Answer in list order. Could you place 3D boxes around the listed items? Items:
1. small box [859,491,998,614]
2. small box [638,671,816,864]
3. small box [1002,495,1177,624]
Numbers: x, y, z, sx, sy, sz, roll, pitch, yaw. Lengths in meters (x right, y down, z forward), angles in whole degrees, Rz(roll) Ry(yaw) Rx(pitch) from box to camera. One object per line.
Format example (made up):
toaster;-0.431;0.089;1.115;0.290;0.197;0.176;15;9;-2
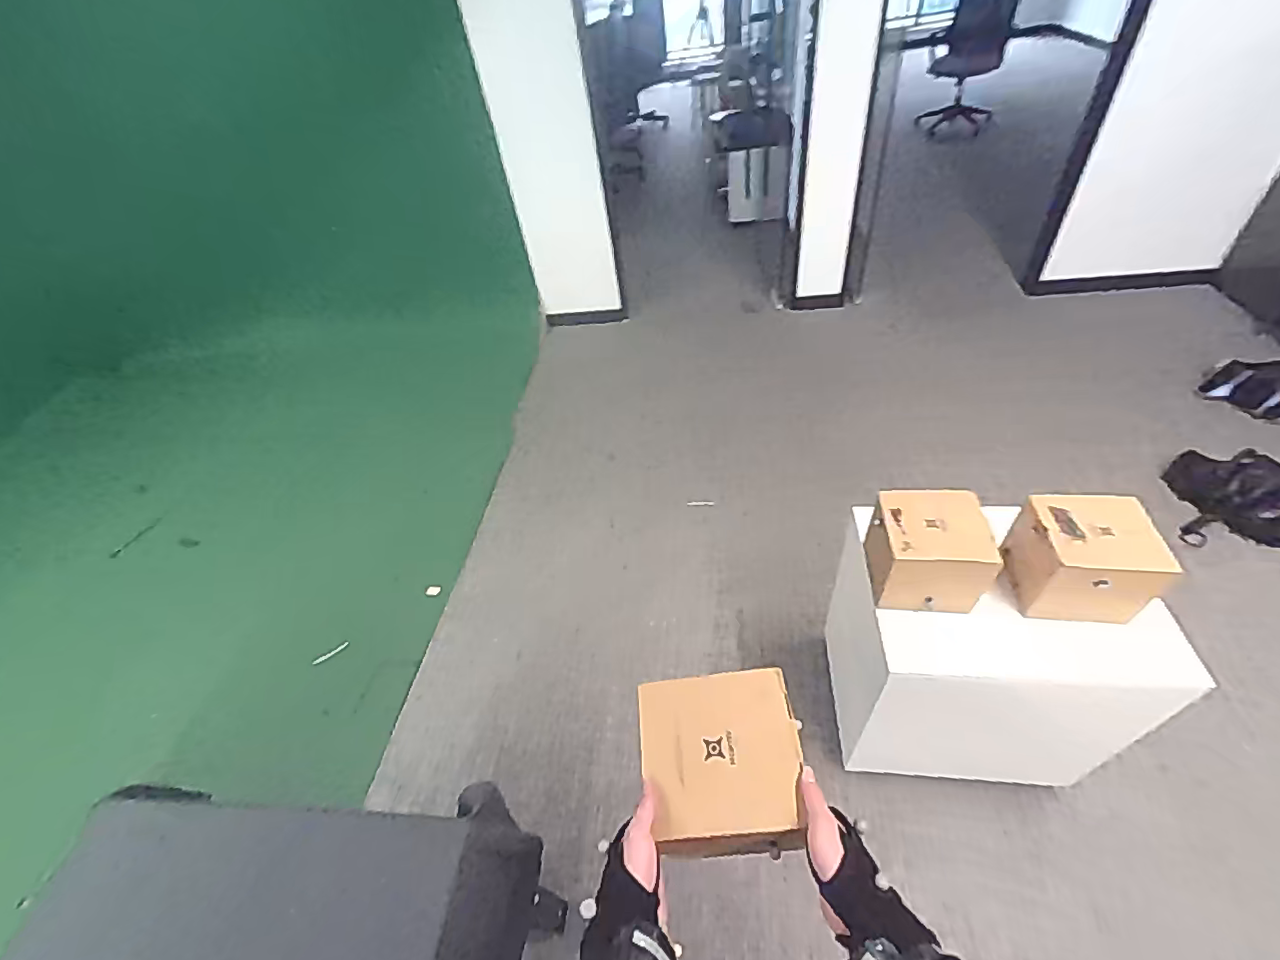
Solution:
small box;0.536;0.140;1.032;0.179;0.176;0.168;1;46;9
small box;0.101;0.349;0.650;0.179;0.176;0.168;-10;47;8
small box;0.792;0.145;0.983;0.179;0.176;0.168;2;46;10
